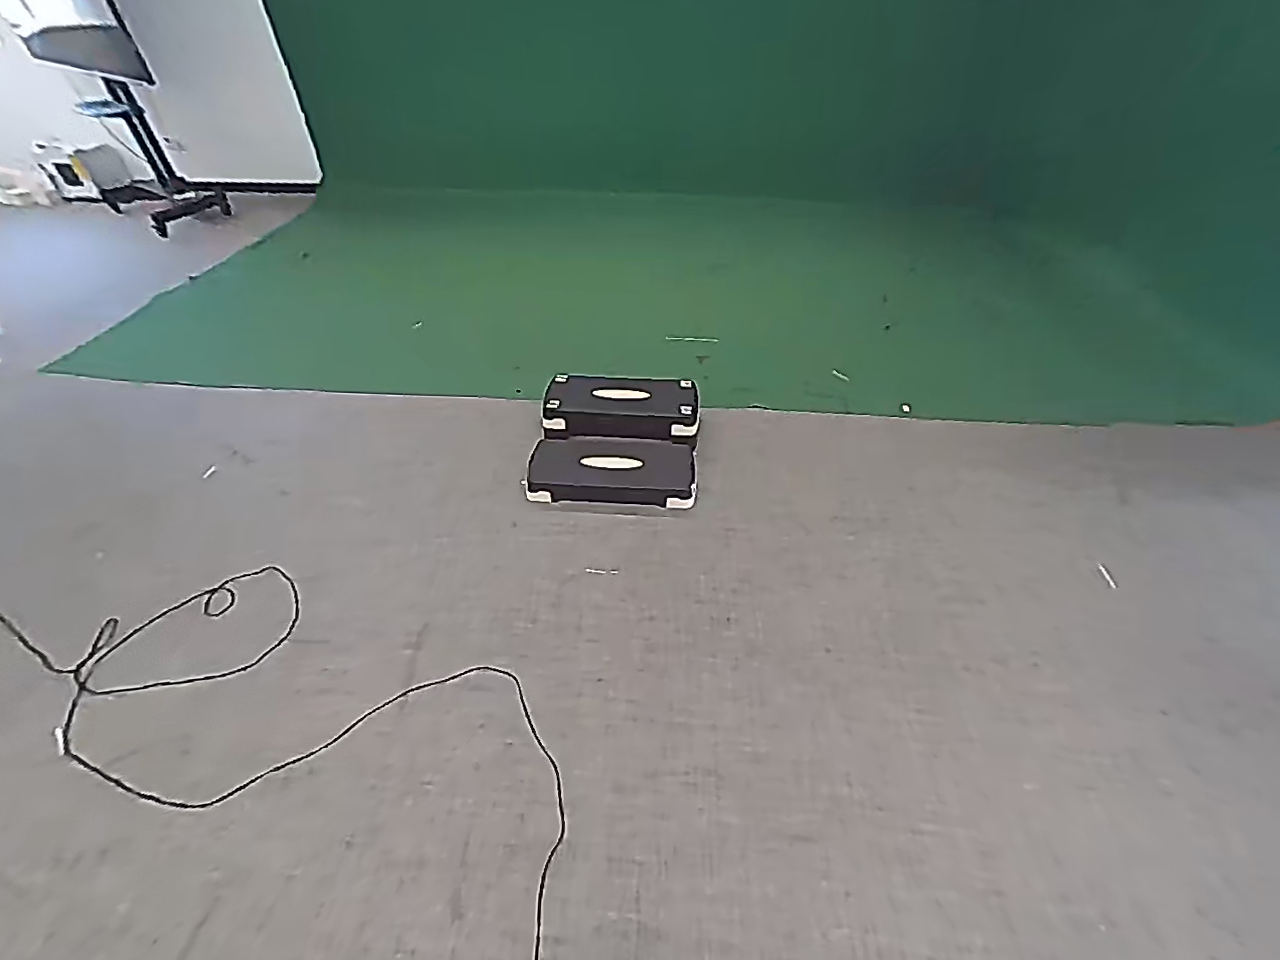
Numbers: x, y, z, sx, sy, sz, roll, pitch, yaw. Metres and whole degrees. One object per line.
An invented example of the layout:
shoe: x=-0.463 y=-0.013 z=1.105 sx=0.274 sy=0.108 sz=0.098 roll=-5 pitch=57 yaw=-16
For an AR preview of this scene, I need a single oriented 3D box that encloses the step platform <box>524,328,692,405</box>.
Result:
step platform: x=-0.127 y=-0.476 z=2.270 sx=0.684 sy=0.204 sz=0.286 roll=2 pitch=44 yaw=3
